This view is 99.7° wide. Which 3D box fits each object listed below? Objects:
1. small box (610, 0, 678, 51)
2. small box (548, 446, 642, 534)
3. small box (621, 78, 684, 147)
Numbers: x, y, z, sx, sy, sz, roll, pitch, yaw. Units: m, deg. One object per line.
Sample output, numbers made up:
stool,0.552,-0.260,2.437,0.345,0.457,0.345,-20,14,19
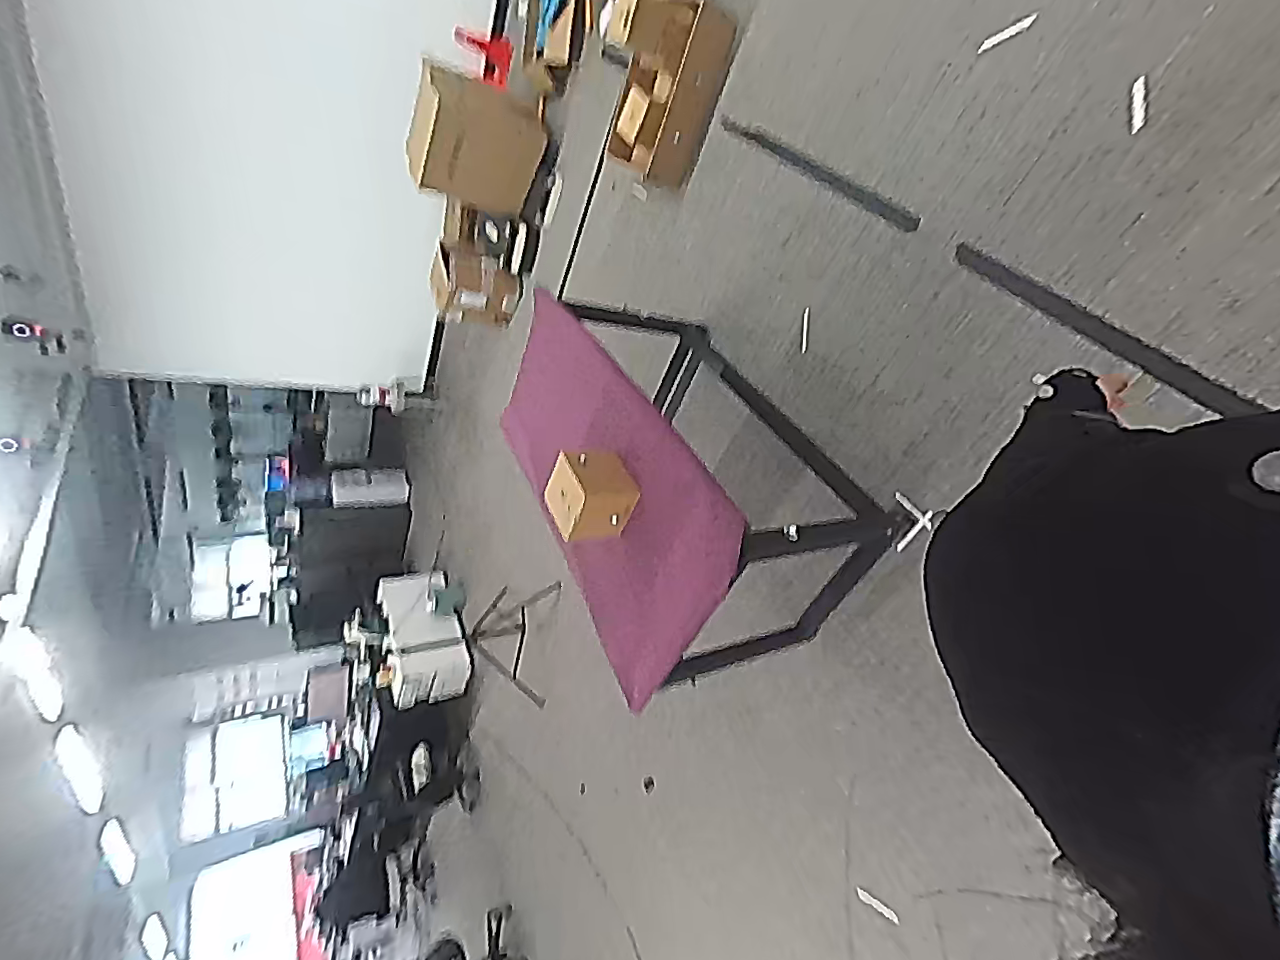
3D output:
small box,0.017,-1.752,2.035,0.179,0.176,0.168,54,133,39
small box,-0.123,0.025,1.452,0.179,0.176,0.168,57,135,35
small box,0.053,-1.544,2.282,0.168,0.176,0.179,-57,48,37
